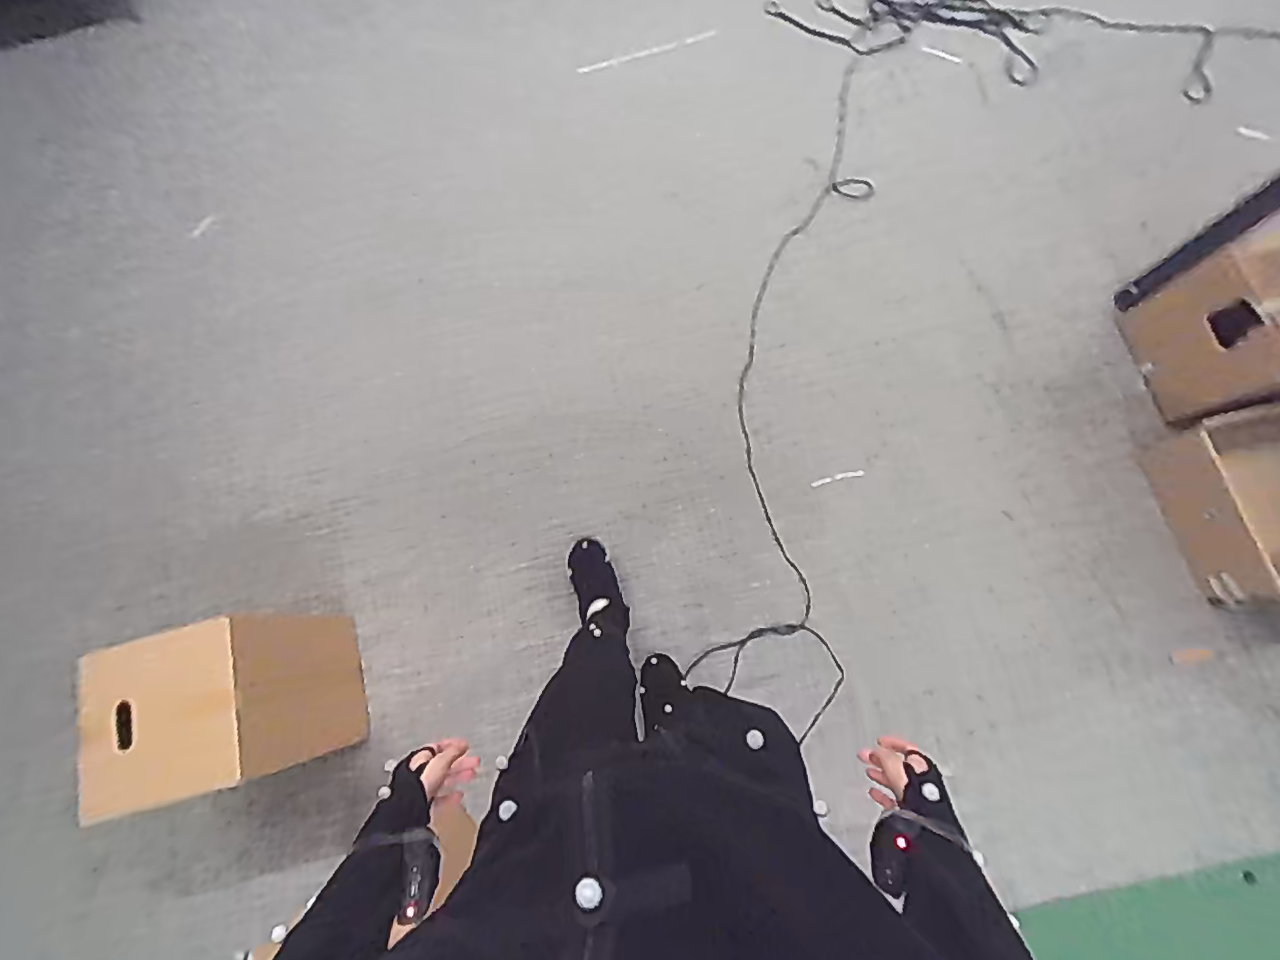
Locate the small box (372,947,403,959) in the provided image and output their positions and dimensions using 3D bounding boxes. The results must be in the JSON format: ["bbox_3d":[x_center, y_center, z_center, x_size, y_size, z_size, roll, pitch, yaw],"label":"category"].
[{"bbox_3d":[-0.452,0.912,0.848,0.168,0.176,0.179,43,82,12],"label":"small box"}]

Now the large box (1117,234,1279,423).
[{"bbox_3d":[1.464,-0.361,1.240,0.408,0.320,0.320,-14,76,3],"label":"large box"}]
